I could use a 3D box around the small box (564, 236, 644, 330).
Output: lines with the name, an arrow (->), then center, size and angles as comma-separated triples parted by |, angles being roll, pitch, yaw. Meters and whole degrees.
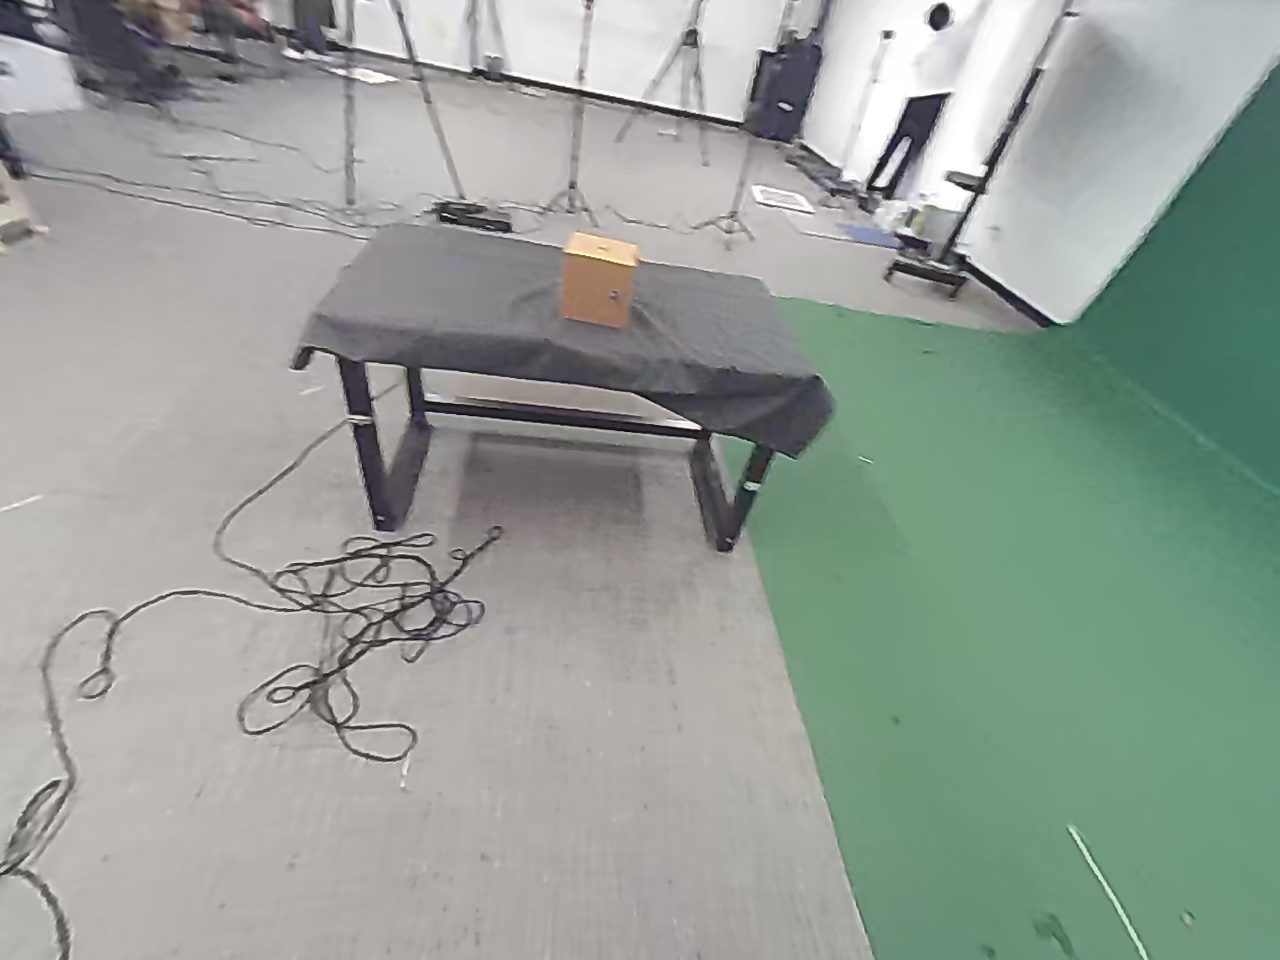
small box -> -0.093, -0.505, 1.398 | 0.179, 0.176, 0.168 | 9, 39, -4
